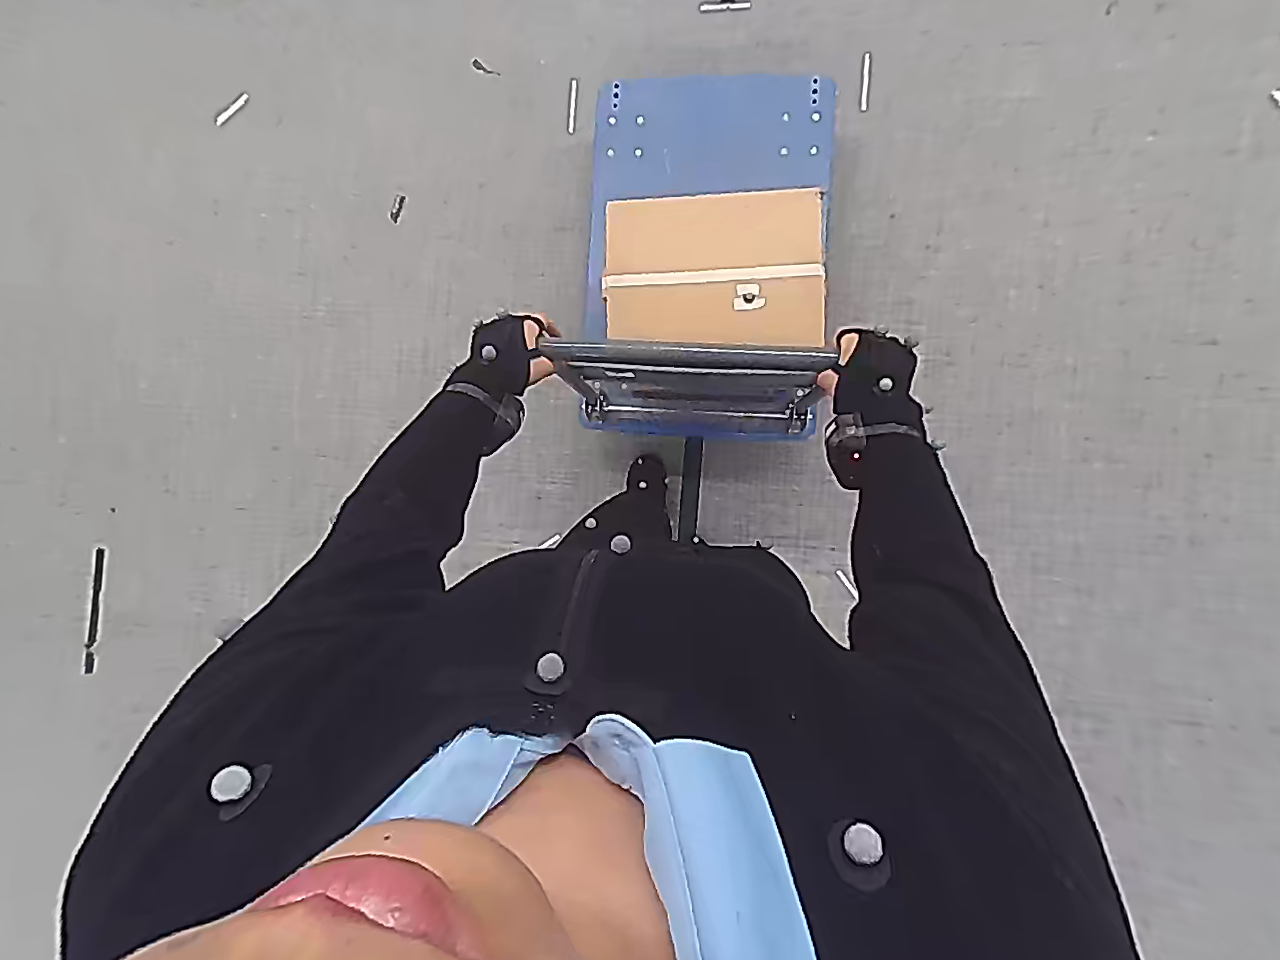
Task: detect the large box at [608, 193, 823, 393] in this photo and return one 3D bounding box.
[{"bbox_3d":[0.151,-0.376,1.172,0.408,0.320,0.320,-1,90,5],"label":"large box"}]
